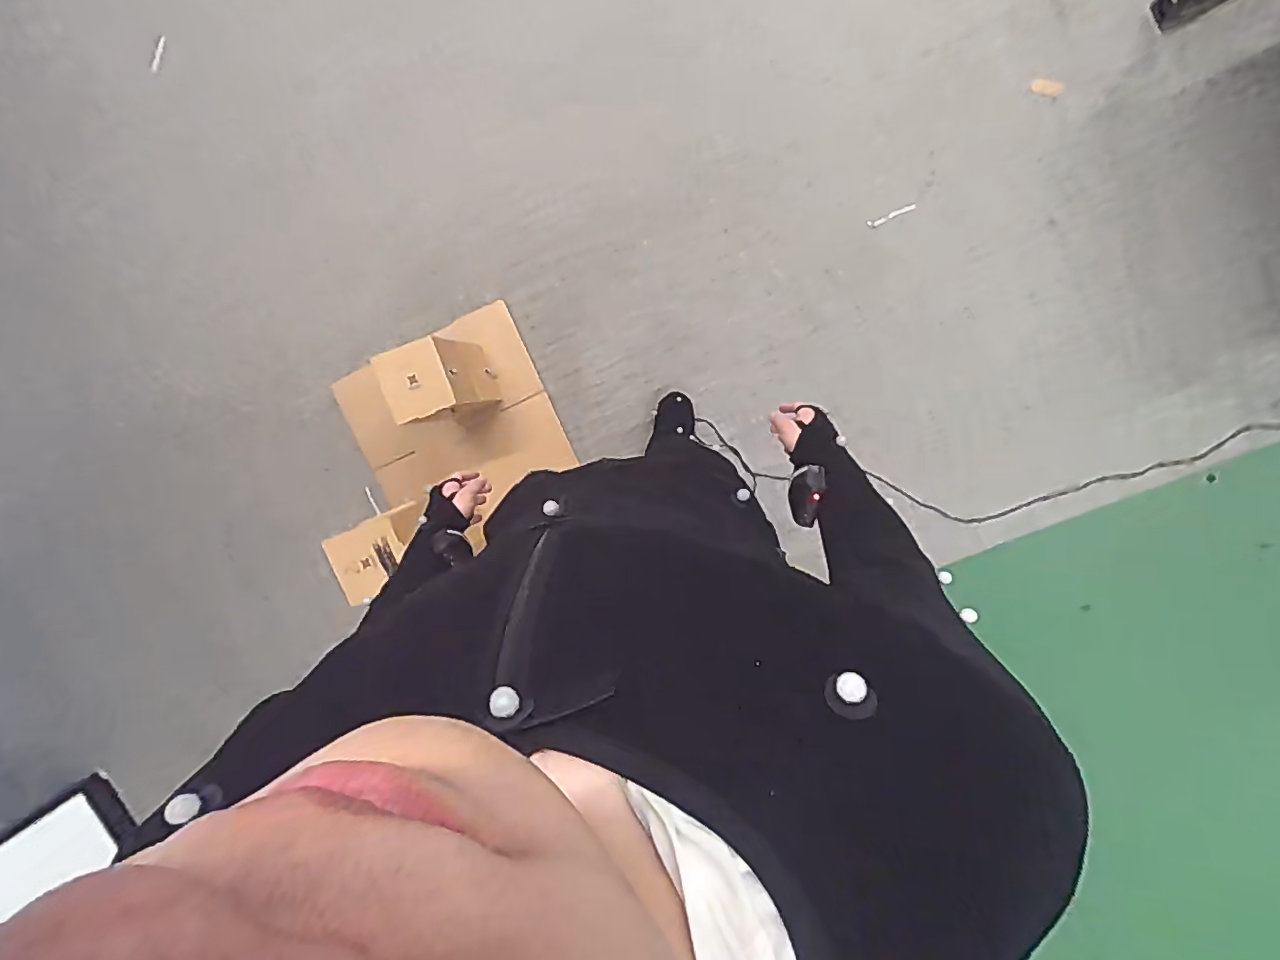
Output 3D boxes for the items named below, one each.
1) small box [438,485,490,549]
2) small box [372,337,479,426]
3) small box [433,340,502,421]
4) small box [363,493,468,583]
[{"bbox_3d":[-0.577,0.125,1.609,0.168,0.176,0.179,-22,97,8],"label":"small box"},{"bbox_3d":[-0.535,-0.250,1.380,0.168,0.176,0.179,-18,98,7],"label":"small box"},{"bbox_3d":[-0.521,-0.280,1.540,0.168,0.176,0.179,-21,97,8],"label":"small box"},{"bbox_3d":[-0.592,0.145,1.449,0.168,0.176,0.179,-22,98,7],"label":"small box"}]
